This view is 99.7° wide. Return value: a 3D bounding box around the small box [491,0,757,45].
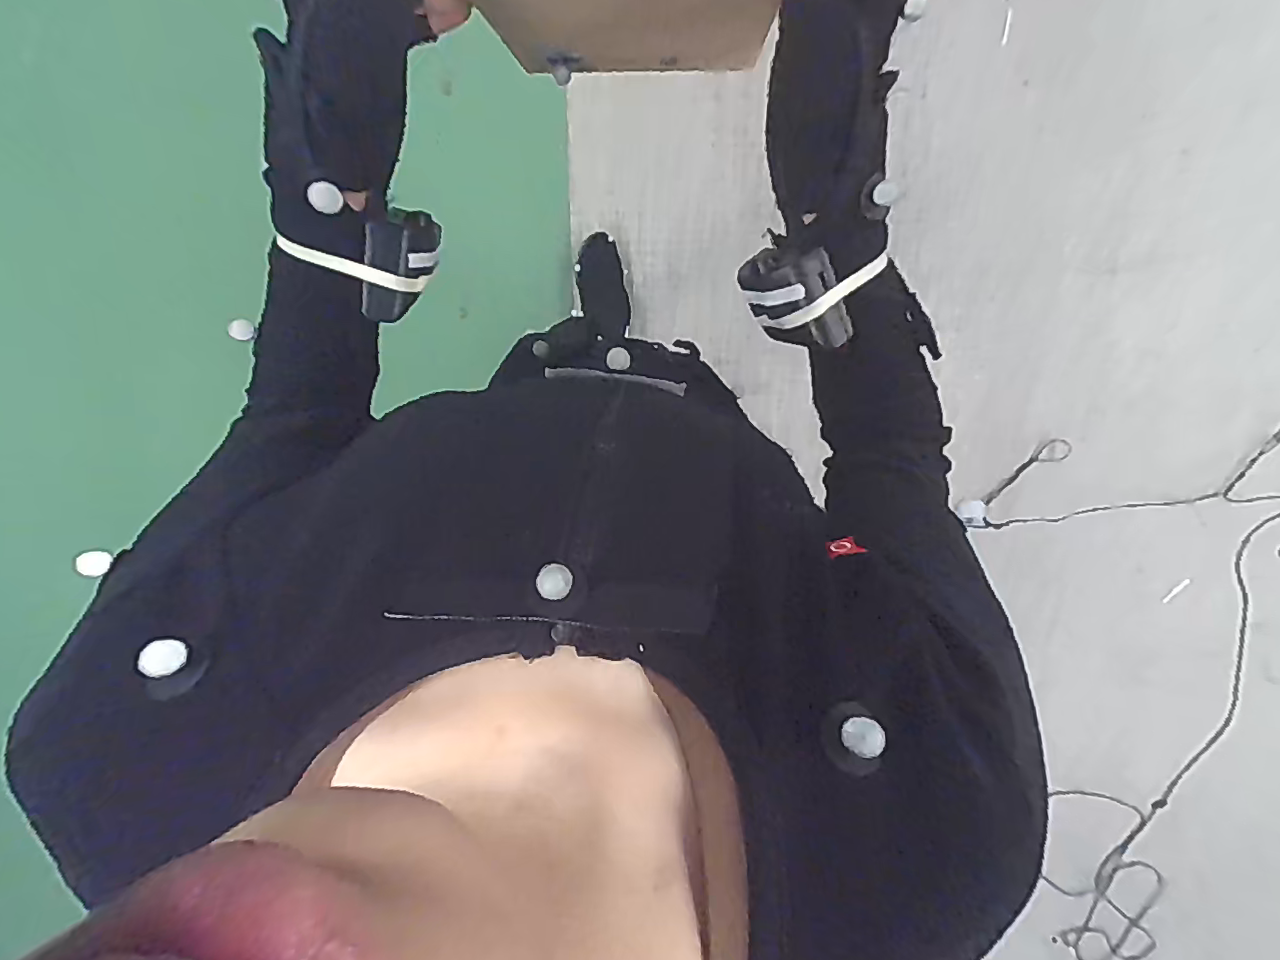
[{"bbox_3d":[-0.011,-0.350,0.271,0.168,0.176,0.179,2,110,3],"label":"small box"}]
